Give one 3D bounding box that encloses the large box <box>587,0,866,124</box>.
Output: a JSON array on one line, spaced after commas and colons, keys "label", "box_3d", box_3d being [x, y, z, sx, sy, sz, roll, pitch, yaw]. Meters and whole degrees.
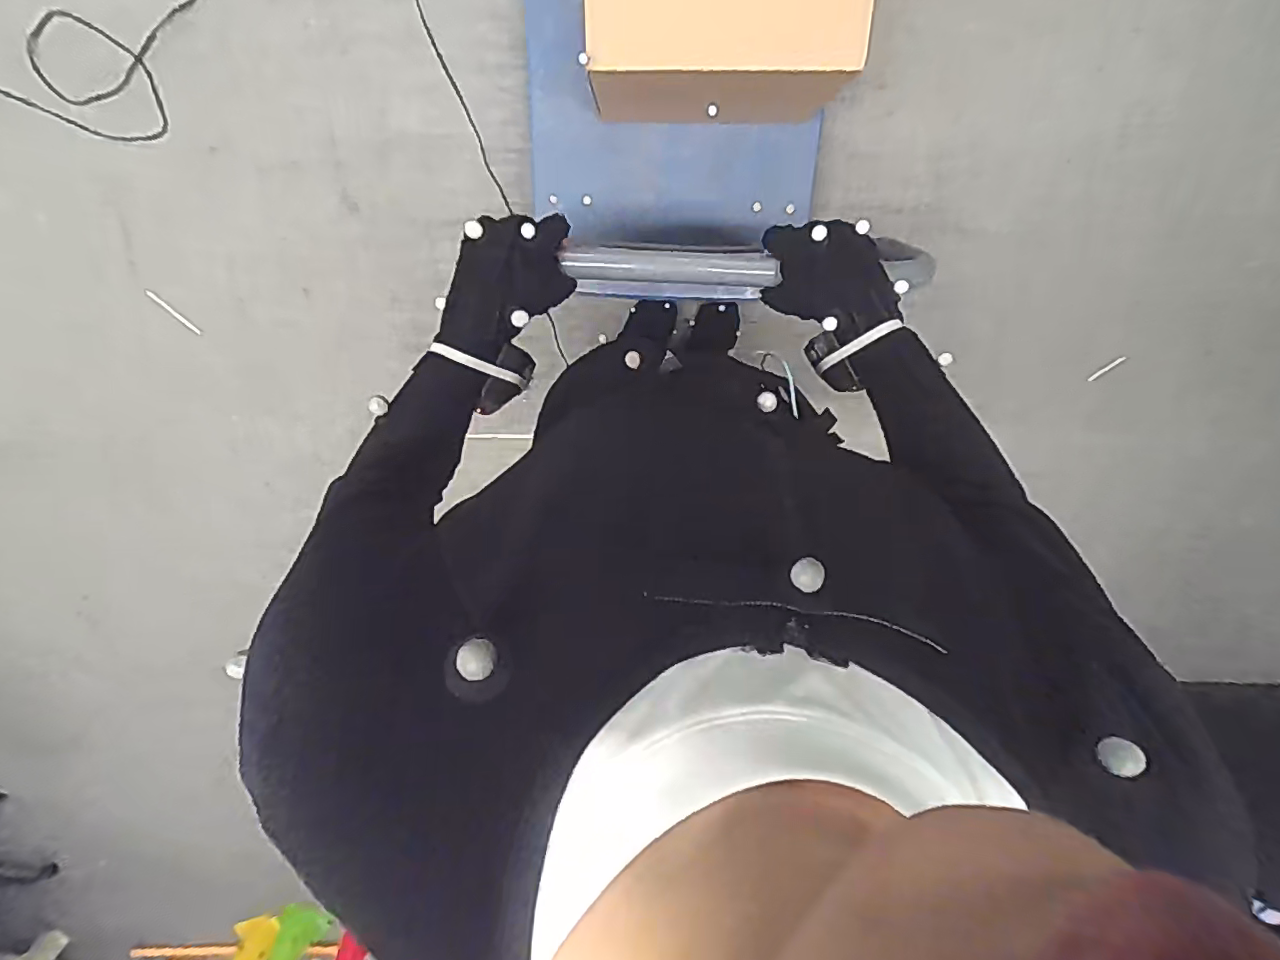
[{"label": "large box", "box_3d": [0.127, -0.800, 0.886, 0.408, 0.320, 0.320, 0, 111, 2]}]
